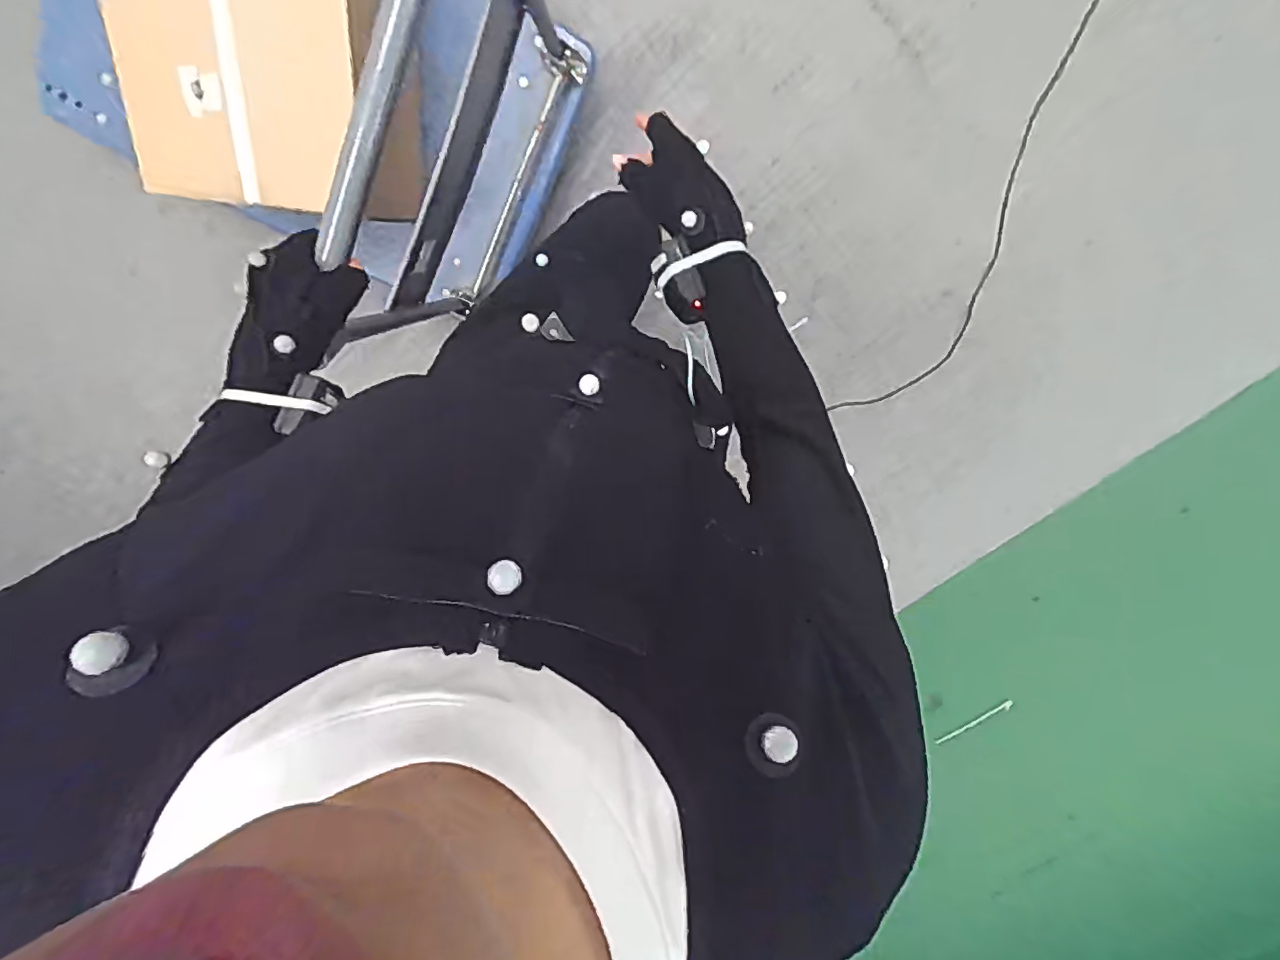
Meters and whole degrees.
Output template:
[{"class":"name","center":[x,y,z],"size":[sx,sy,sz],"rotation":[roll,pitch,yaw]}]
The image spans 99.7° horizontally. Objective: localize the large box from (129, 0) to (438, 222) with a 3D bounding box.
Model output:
[{"class":"large box","center":[-0.537,-0.656,0.880],"size":[0.320,0.320,0.408],"rotation":[4,115,-4]}]
